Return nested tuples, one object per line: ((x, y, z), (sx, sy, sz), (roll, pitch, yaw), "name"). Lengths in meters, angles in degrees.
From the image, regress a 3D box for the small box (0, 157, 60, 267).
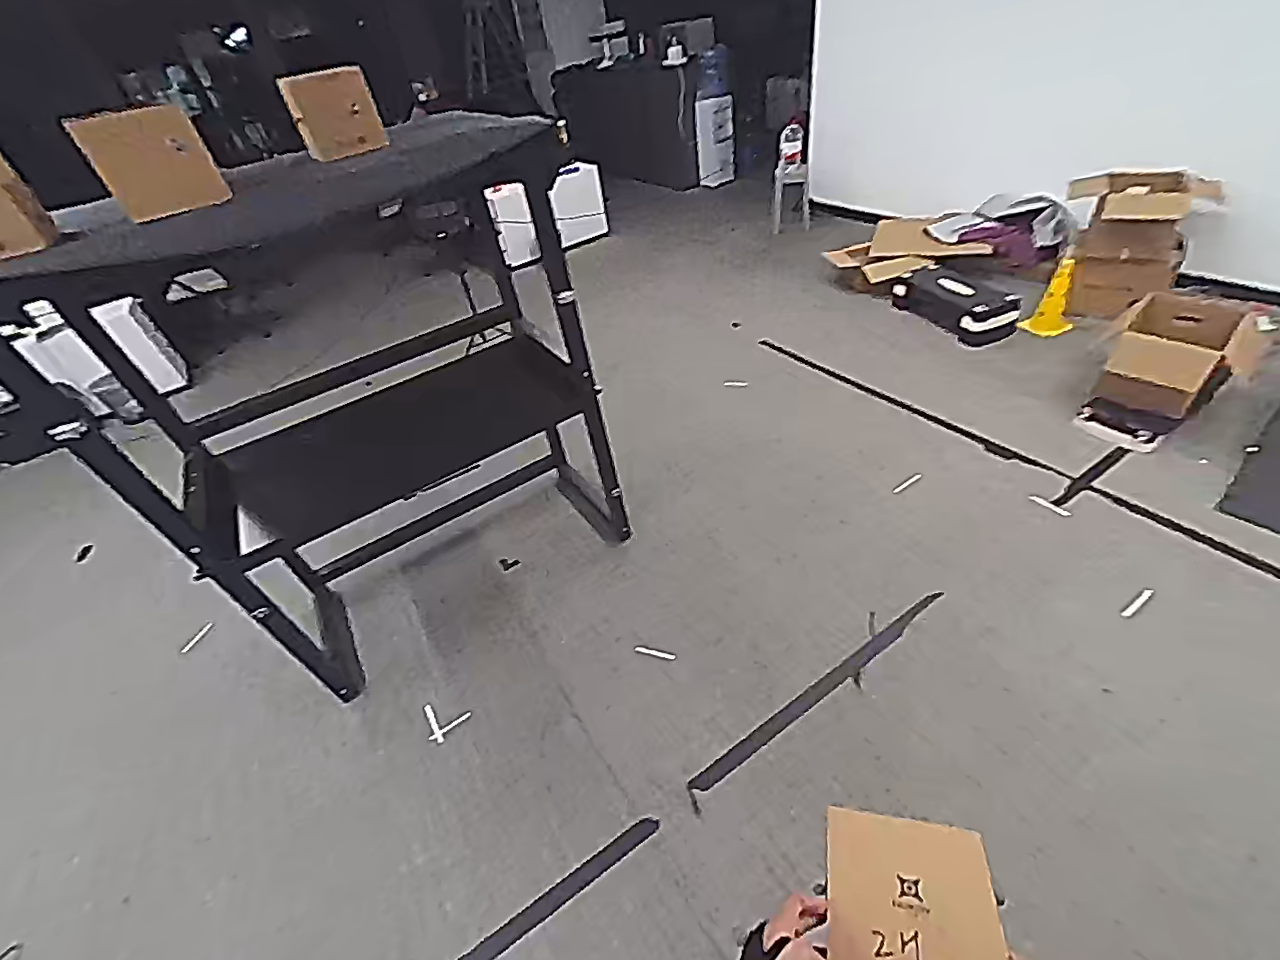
((-1.193, -0.473, 0.953), (0.168, 0.176, 0.179), (-31, 44, -21), "small box")

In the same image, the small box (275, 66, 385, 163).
((-0.759, -0.898, 1.334), (0.168, 0.176, 0.179), (-30, 45, -21), "small box")

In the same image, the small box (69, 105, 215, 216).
((-1.091, -0.713, 1.205), (0.179, 0.176, 0.168), (-29, 44, -18), "small box")

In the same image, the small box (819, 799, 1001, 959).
((0.289, 0.506, 0.607), (0.168, 0.176, 0.179), (-2, 26, 19), "small box")
